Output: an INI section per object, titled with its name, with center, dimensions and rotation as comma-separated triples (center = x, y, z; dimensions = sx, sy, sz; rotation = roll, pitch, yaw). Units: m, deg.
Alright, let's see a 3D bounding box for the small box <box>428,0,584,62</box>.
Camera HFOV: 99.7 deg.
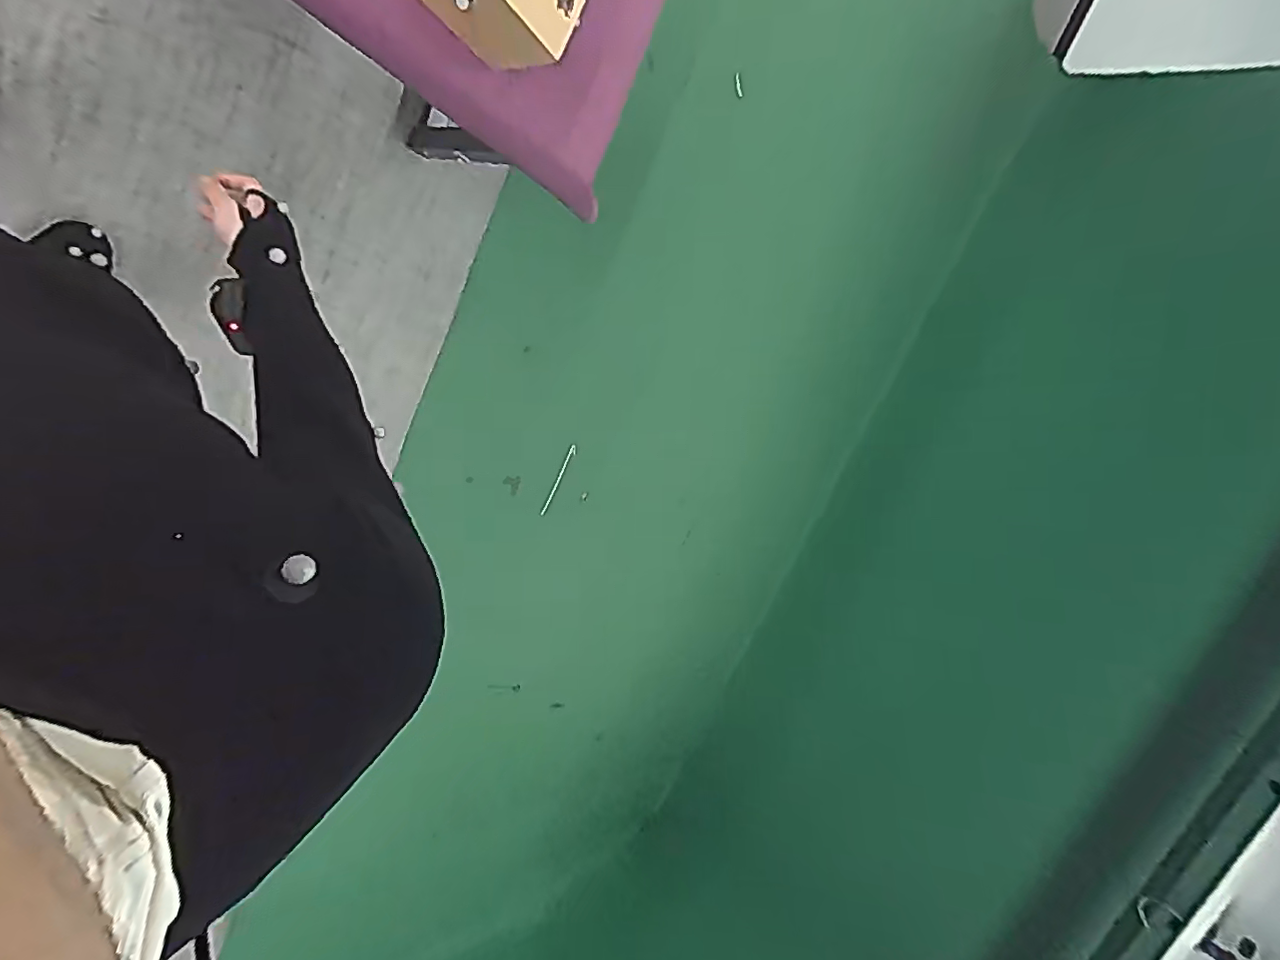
[small box]
center = -0.172, -0.649, 0.653
dimensions = 0.179, 0.176, 0.168
rotation = 21, 98, -50
